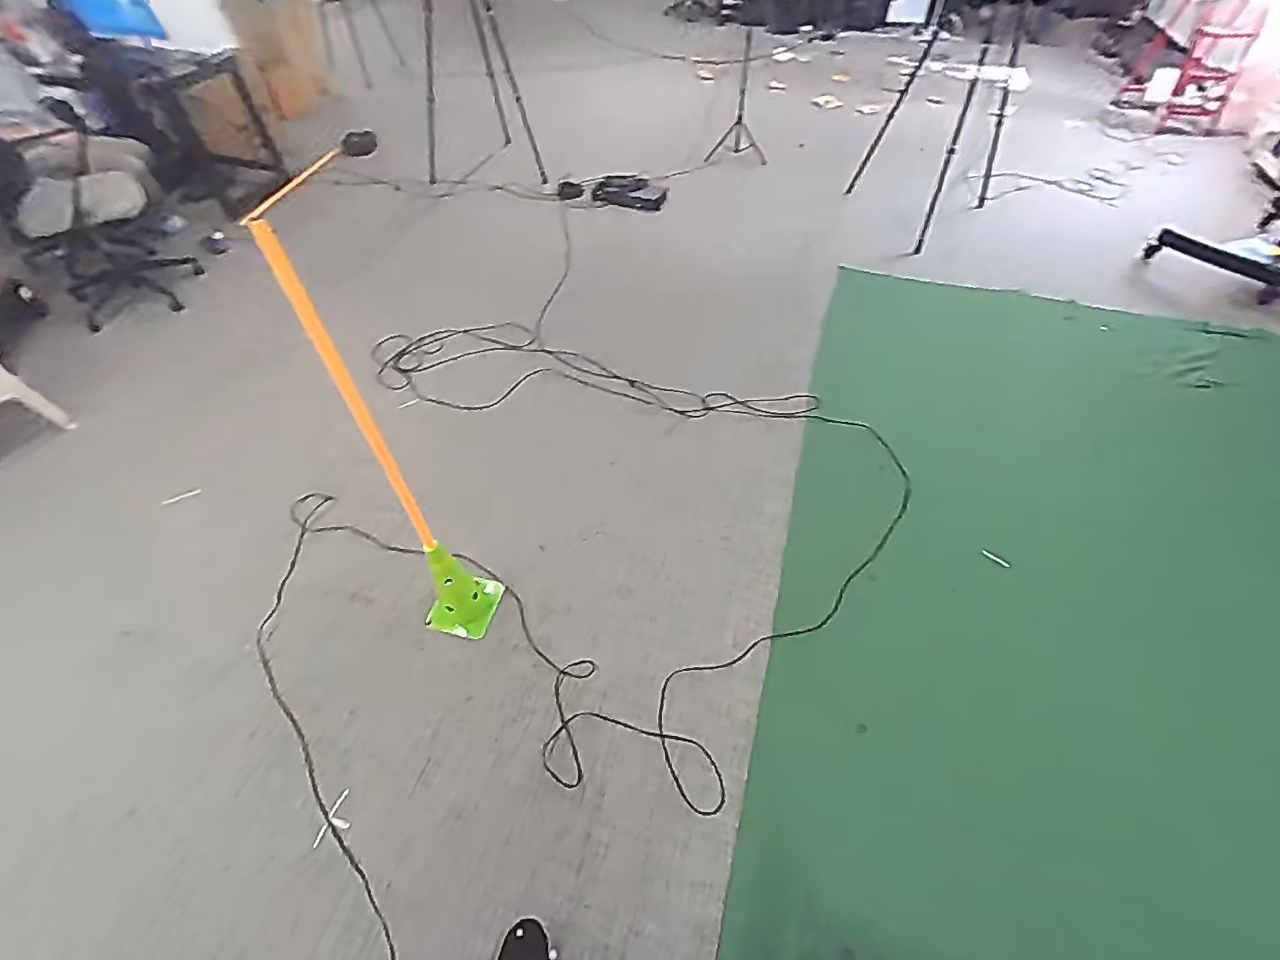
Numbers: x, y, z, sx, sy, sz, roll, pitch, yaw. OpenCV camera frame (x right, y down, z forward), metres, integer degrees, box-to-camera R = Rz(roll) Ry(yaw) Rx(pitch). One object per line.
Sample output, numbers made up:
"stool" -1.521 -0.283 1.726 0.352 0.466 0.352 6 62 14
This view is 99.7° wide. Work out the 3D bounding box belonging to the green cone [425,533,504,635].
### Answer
"green cone" -0.561 0.280 1.602 0.200 0.368 0.202 10 50 9
